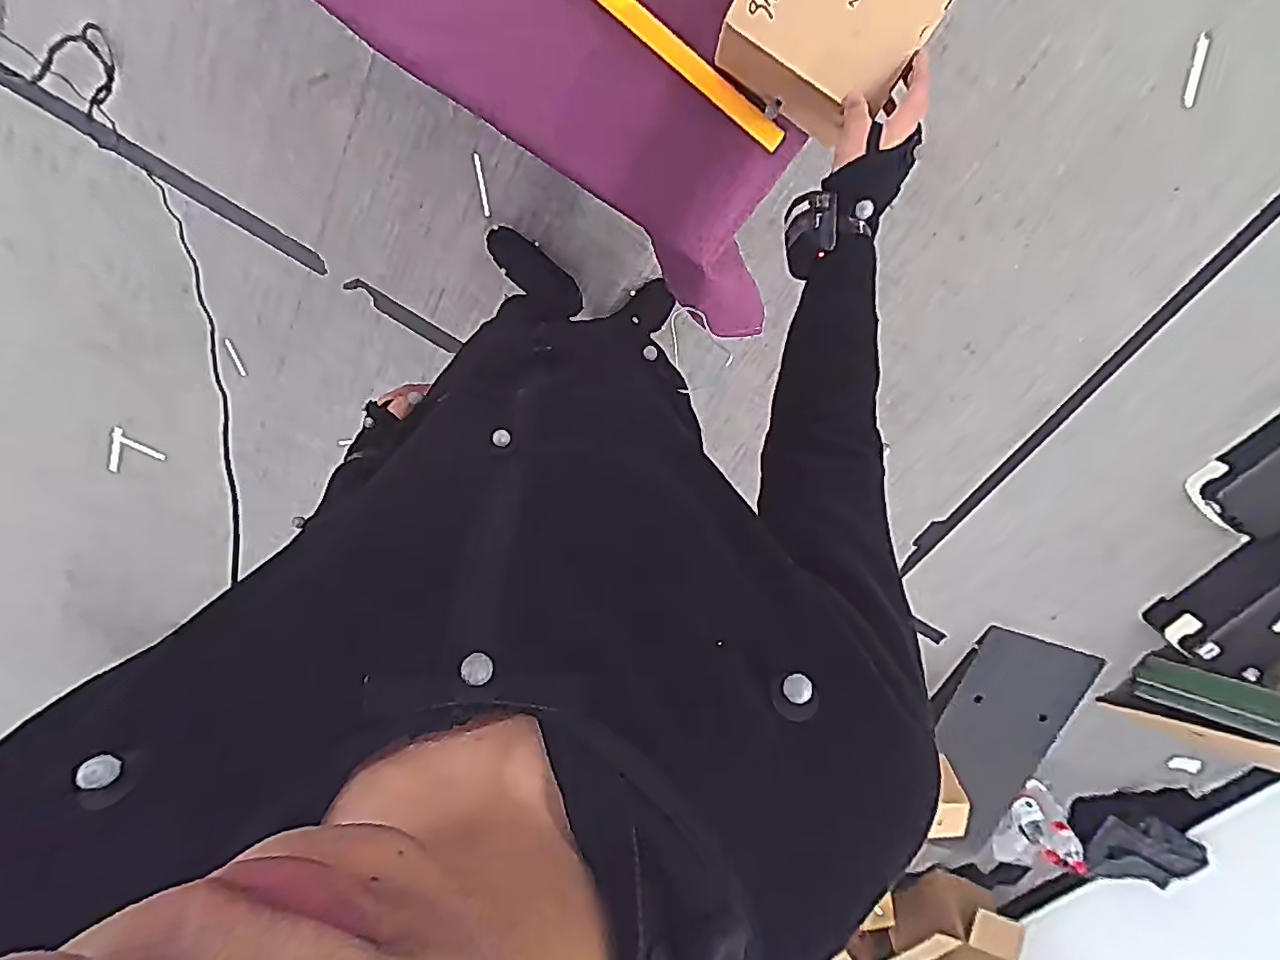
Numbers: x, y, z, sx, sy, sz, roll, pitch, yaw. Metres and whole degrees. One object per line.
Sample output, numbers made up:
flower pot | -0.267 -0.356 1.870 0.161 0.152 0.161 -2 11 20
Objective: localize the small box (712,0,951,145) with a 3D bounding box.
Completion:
small box | 0.194 -0.486 0.575 0.179 0.176 0.168 29 114 -10
